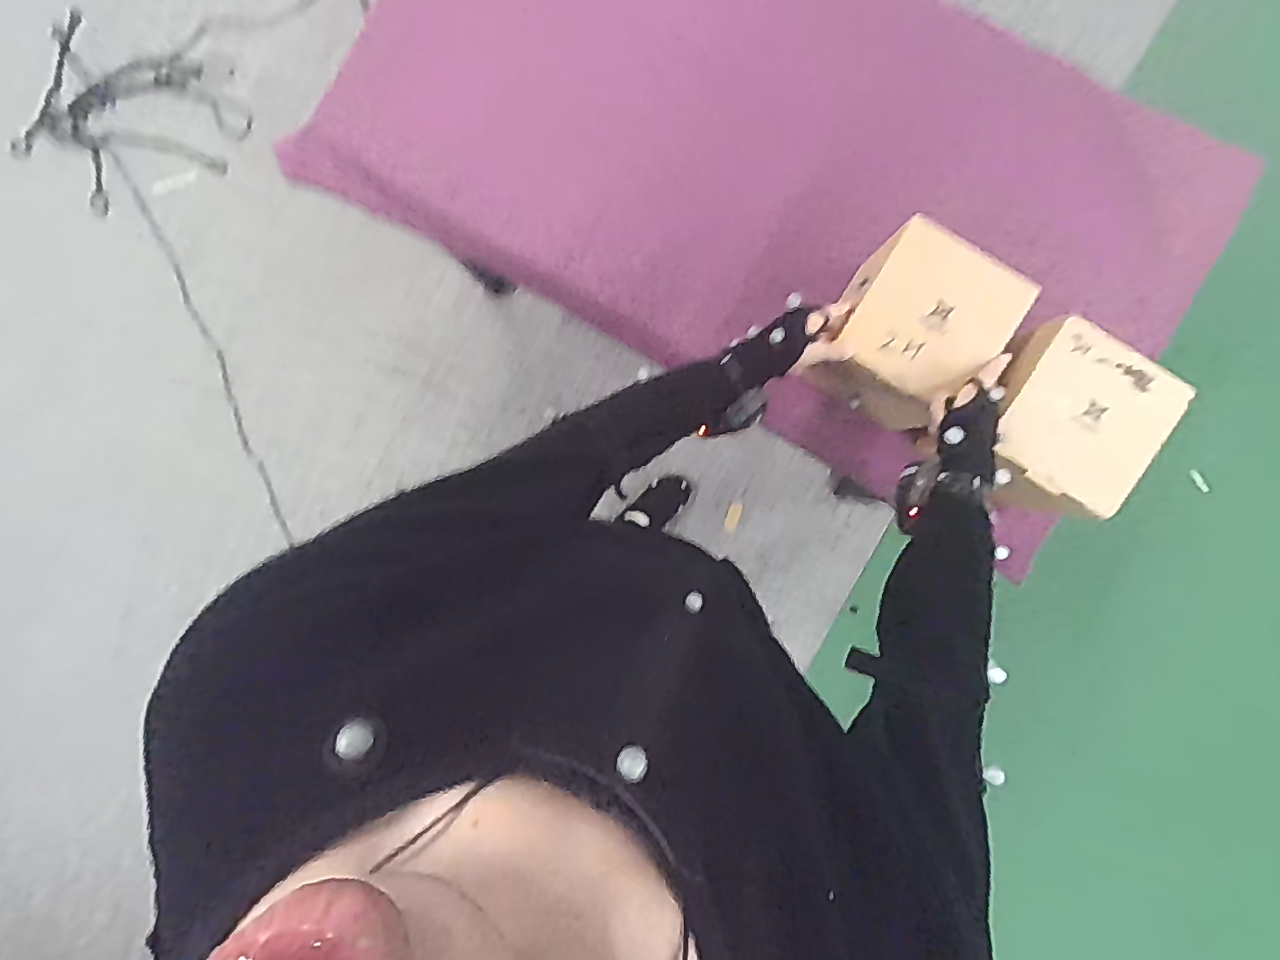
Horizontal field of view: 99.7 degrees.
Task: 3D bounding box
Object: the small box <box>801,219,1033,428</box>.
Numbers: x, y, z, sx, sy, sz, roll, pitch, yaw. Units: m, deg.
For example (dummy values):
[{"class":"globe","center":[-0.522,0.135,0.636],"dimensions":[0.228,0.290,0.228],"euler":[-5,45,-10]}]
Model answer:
[{"class":"small box","center":[0.330,-0.182,0.687],"dimensions":[0.168,0.176,0.179],"euler":[32,93,1]}]
